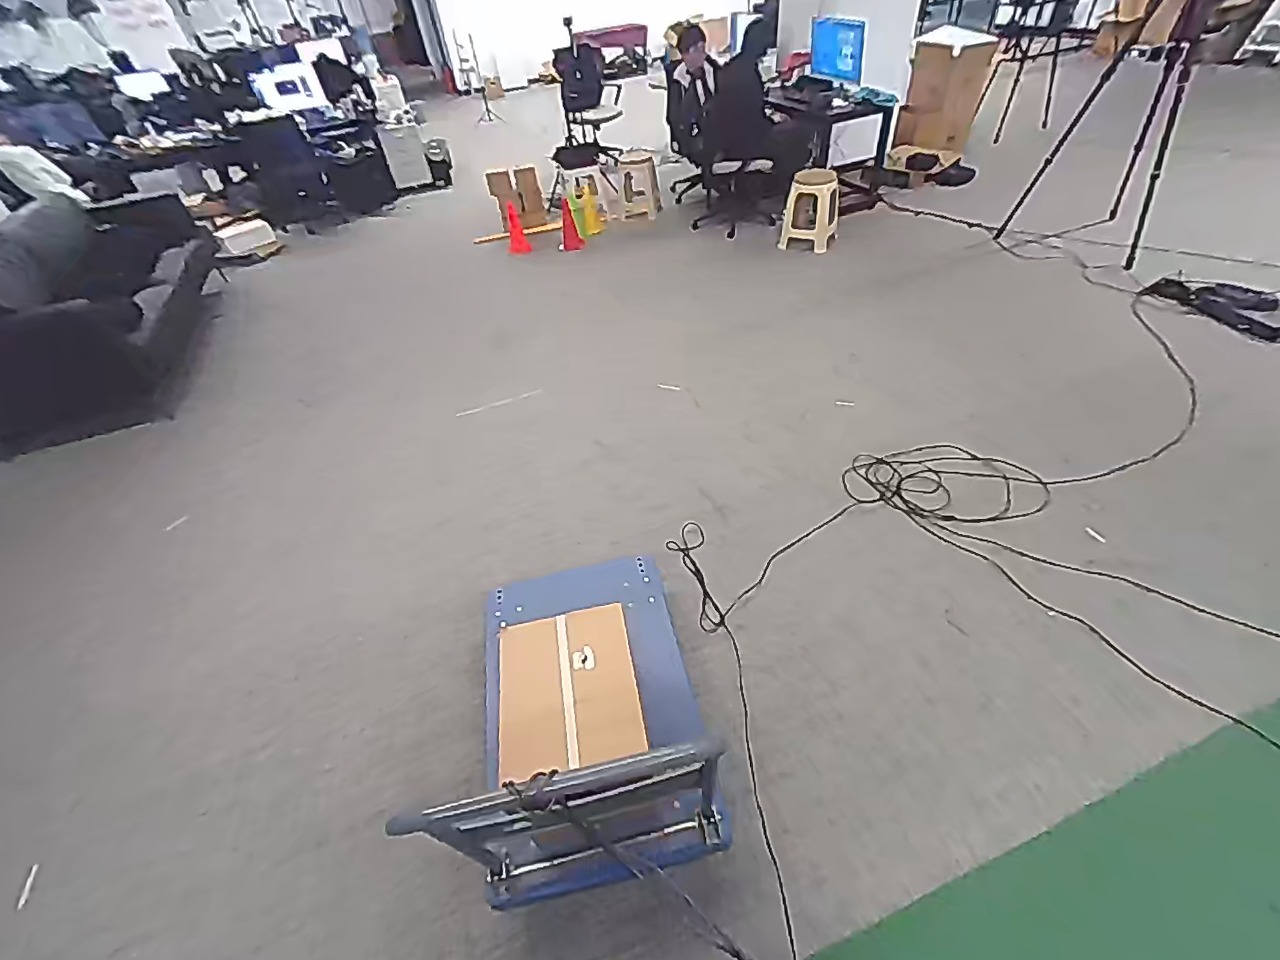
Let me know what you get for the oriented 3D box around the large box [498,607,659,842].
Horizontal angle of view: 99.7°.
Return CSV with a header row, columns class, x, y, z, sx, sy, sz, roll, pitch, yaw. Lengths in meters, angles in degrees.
class,x,y,z,sx,sy,sz,roll,pitch,yaw
large box,-0.153,0.591,1.329,0.320,0.320,0.408,-10,43,-4
